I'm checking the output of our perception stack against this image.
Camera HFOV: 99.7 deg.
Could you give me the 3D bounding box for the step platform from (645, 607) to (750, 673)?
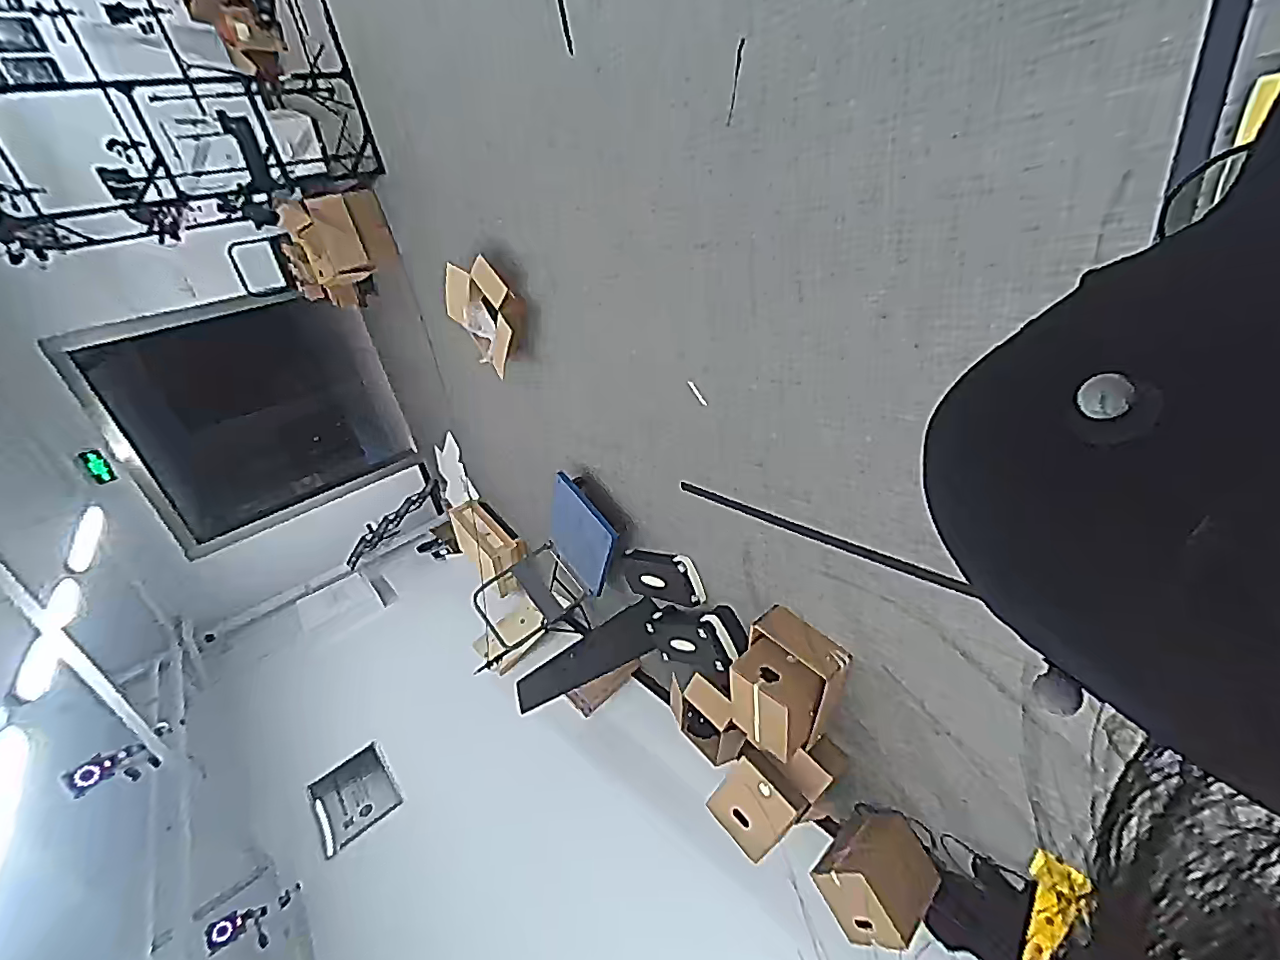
[{"bbox_3d":[0.298,0.896,3.060,0.684,0.204,0.286,-23,96,58],"label":"step platform"}]
